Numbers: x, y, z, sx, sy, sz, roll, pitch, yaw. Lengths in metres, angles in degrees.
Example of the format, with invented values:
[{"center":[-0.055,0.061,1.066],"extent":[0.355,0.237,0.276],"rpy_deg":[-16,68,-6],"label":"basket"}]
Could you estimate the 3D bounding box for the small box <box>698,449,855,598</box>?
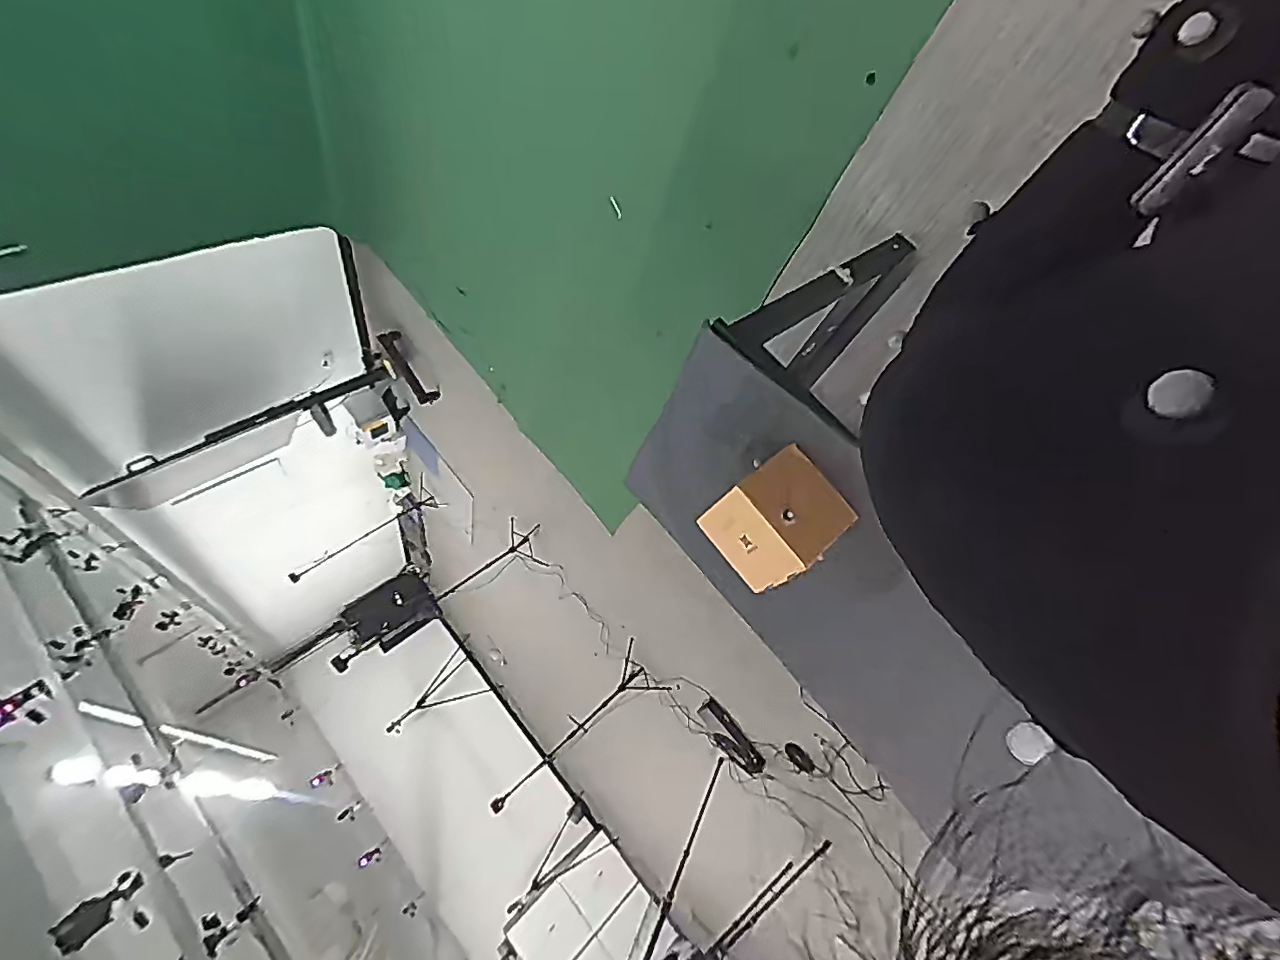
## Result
[{"center":[0.244,0.076,0.965],"extent":[0.179,0.176,0.168],"rpy_deg":[51,148,9],"label":"small box"}]
